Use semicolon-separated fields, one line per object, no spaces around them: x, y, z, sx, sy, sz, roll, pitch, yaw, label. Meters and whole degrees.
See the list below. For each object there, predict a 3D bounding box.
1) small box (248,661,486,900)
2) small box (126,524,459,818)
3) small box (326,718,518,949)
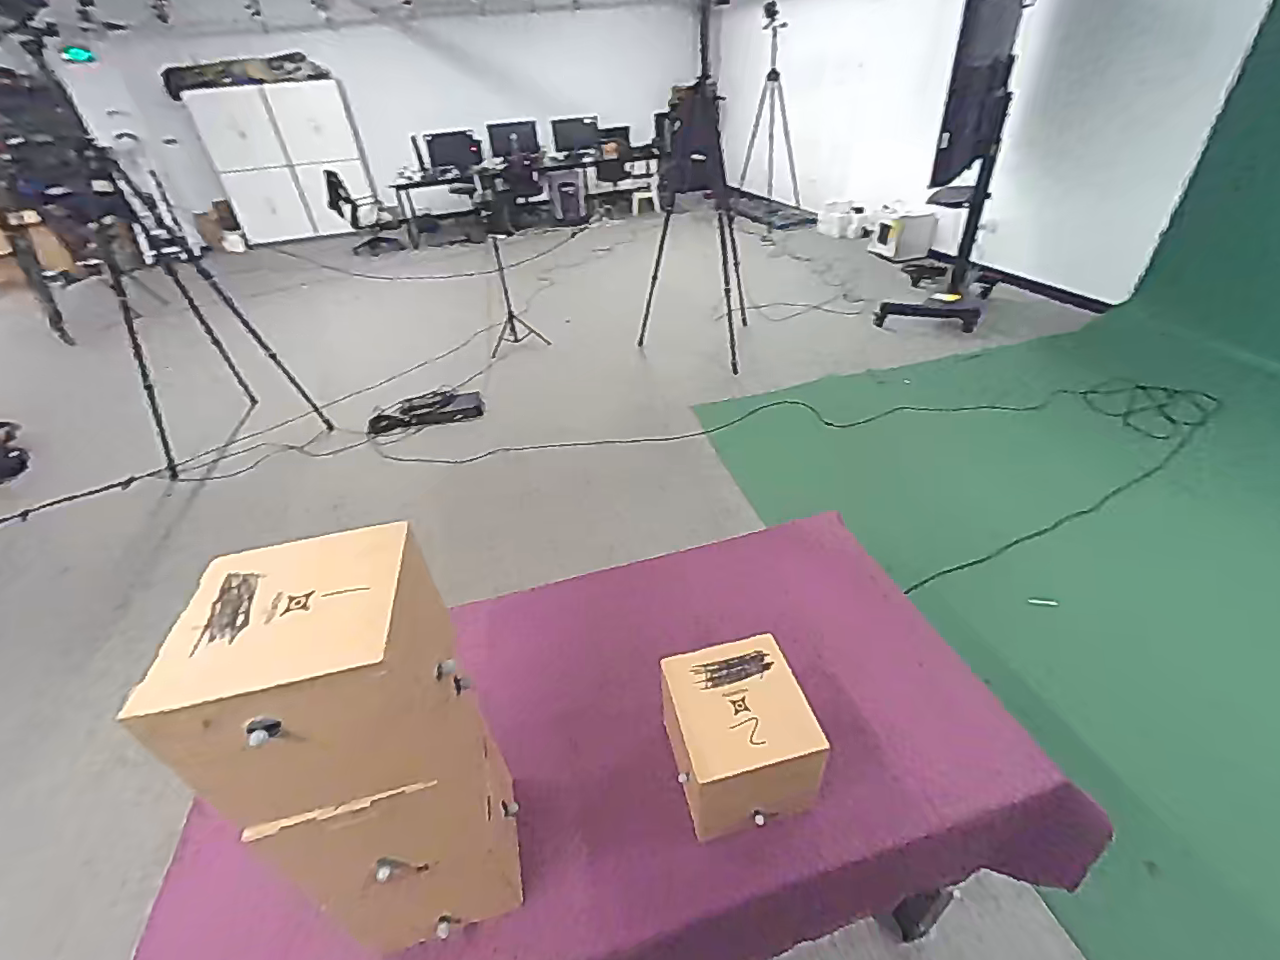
-0.269;0.302;0.583;0.168;0.176;0.179;-13;37;-9;small box
-0.277;0.169;0.487;0.179;0.176;0.168;-11;37;-9;small box
-0.256;0.437;0.677;0.179;0.176;0.168;-13;37;-11;small box
